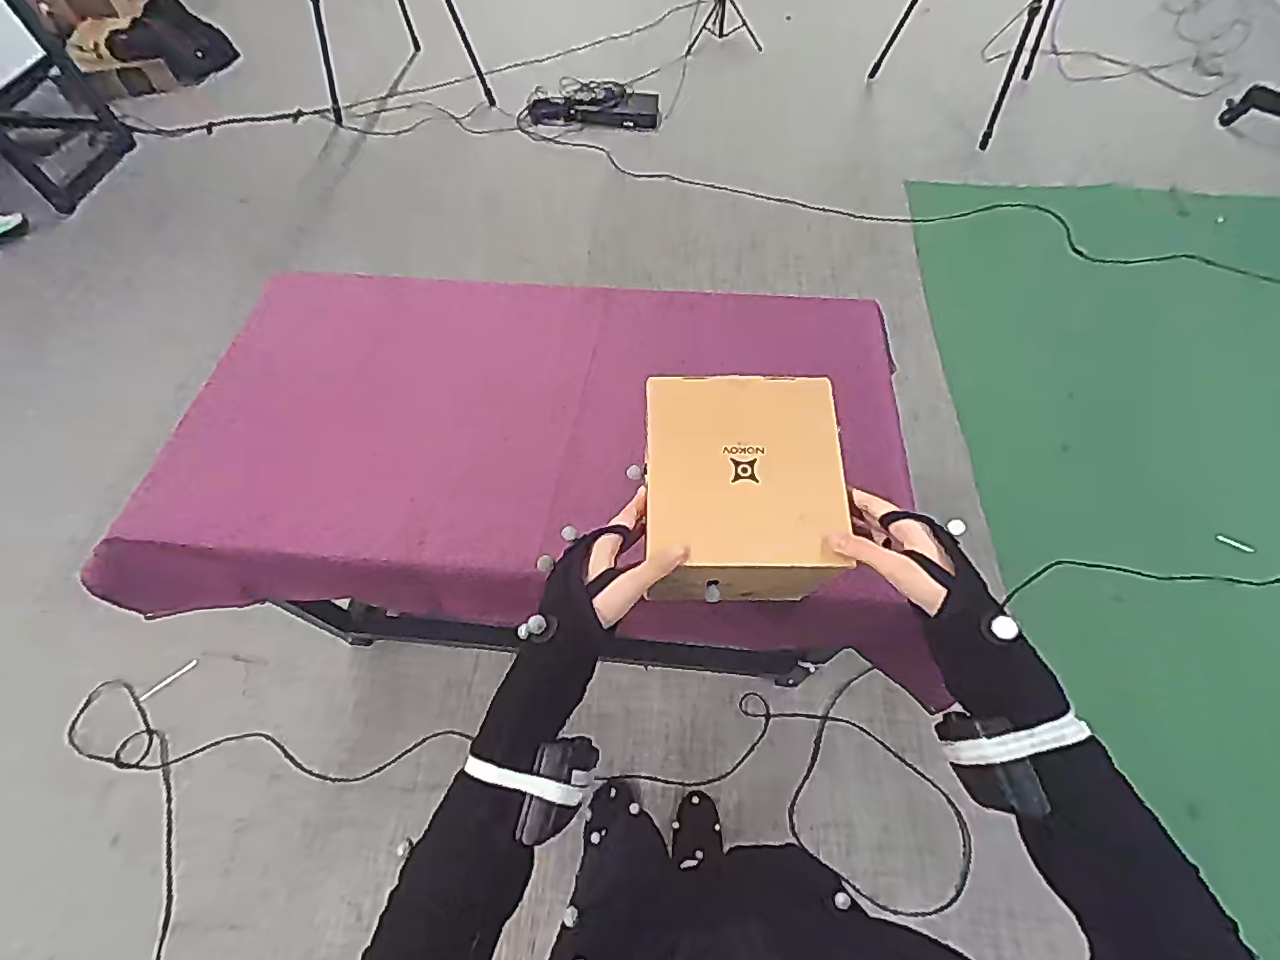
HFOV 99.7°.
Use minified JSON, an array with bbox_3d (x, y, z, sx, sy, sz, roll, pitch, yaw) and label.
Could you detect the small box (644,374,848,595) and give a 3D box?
[{"bbox_3d":[0.088,0.015,0.536,0.168,0.176,0.179,0,66,0],"label":"small box"}]
